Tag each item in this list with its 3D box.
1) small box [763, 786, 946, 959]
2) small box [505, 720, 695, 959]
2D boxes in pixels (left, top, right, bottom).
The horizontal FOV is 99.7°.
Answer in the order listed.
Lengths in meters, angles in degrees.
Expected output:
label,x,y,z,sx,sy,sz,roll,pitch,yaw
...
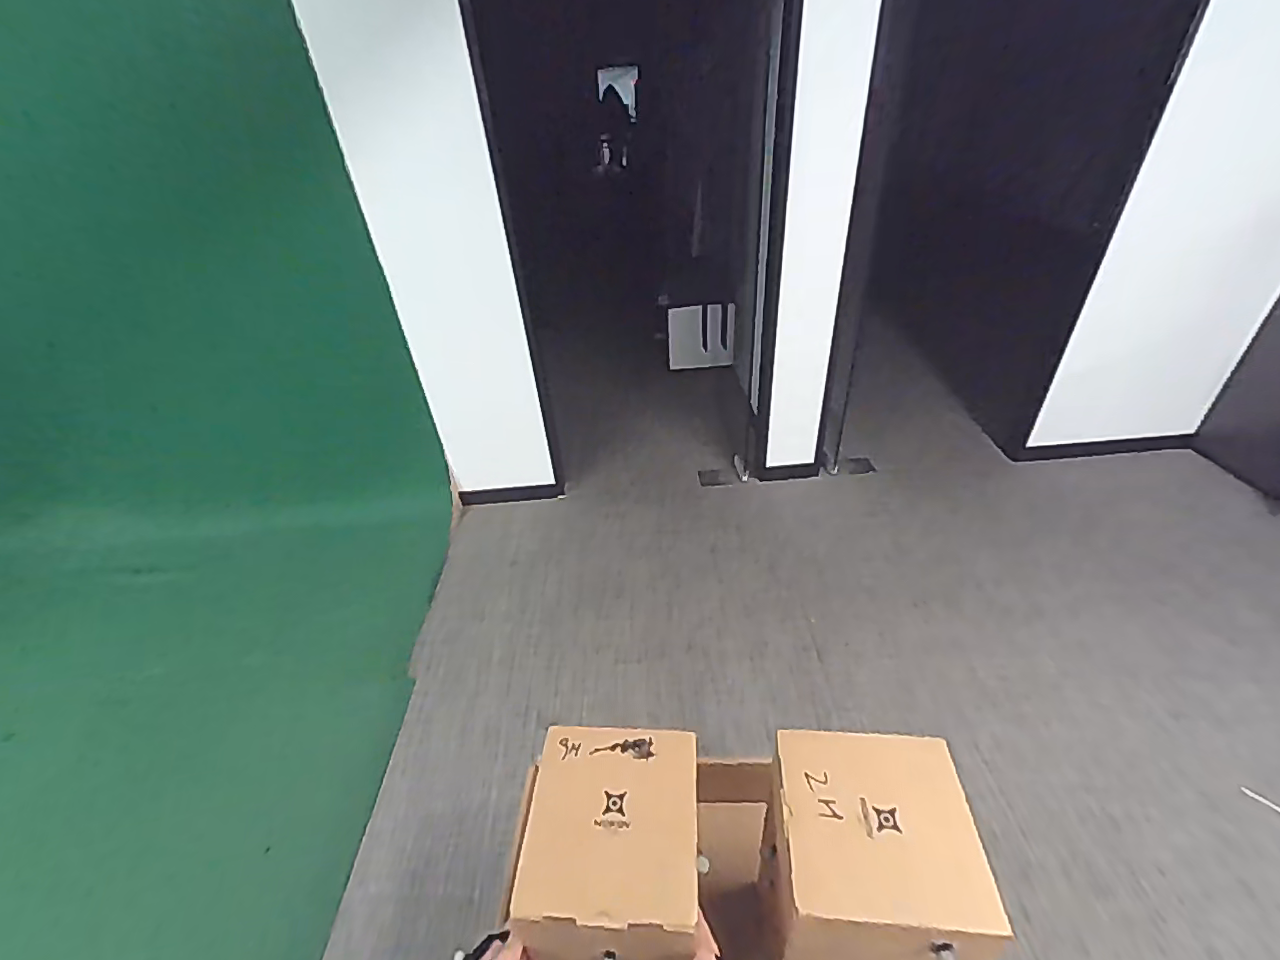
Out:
label,x,y,z,sx,sy,sz,roll,pitch,yaw
small box,0.244,0.507,0.663,0.168,0.176,0.179,-2,38,7
small box,-0.026,0.385,0.578,0.168,0.176,0.179,0,37,6
